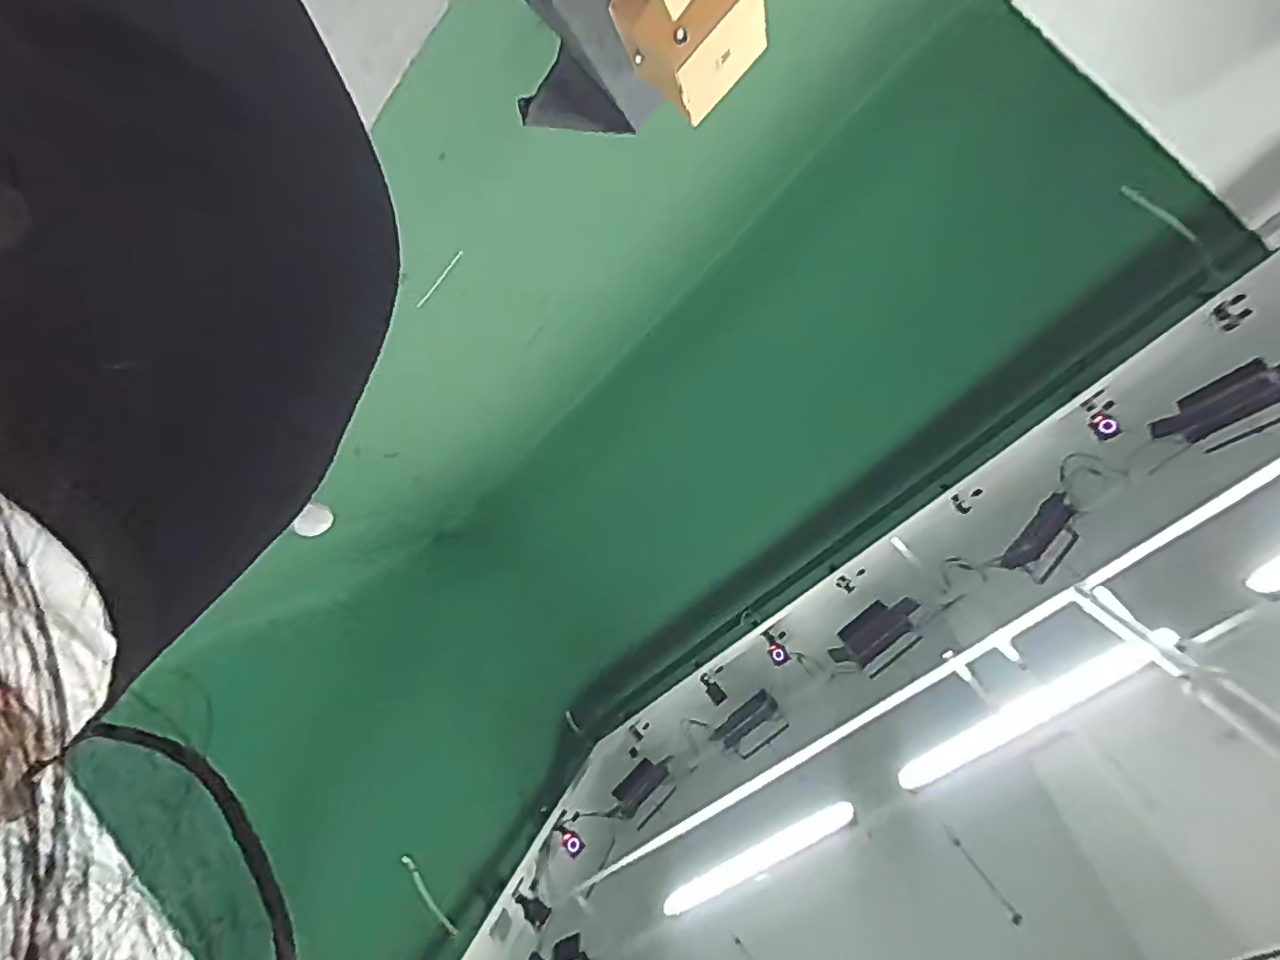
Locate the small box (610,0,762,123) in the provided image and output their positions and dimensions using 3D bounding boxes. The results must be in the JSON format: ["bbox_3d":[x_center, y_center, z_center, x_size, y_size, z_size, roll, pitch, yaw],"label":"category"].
[{"bbox_3d":[0.080,-0.761,0.897,0.179,0.176,0.168,-42,175,15],"label":"small box"}]
